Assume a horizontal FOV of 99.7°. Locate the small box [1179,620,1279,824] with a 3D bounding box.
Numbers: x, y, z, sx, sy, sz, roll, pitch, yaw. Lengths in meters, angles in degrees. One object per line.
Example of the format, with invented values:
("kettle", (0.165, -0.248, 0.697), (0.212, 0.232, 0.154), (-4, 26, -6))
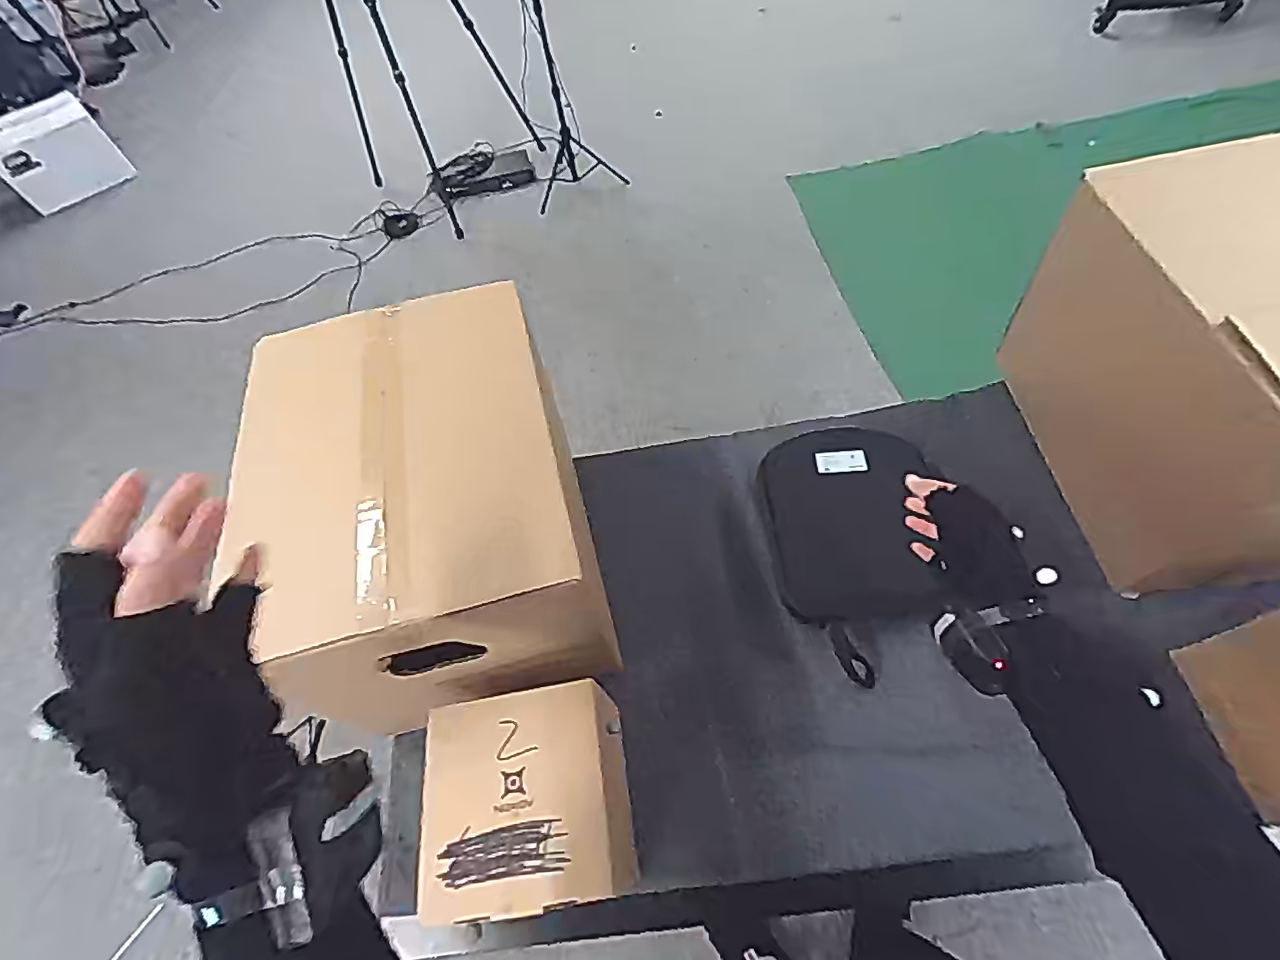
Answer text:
("small box", (0.684, 0.223, 0.506), (0.168, 0.176, 0.179), (-7, 58, 5))
